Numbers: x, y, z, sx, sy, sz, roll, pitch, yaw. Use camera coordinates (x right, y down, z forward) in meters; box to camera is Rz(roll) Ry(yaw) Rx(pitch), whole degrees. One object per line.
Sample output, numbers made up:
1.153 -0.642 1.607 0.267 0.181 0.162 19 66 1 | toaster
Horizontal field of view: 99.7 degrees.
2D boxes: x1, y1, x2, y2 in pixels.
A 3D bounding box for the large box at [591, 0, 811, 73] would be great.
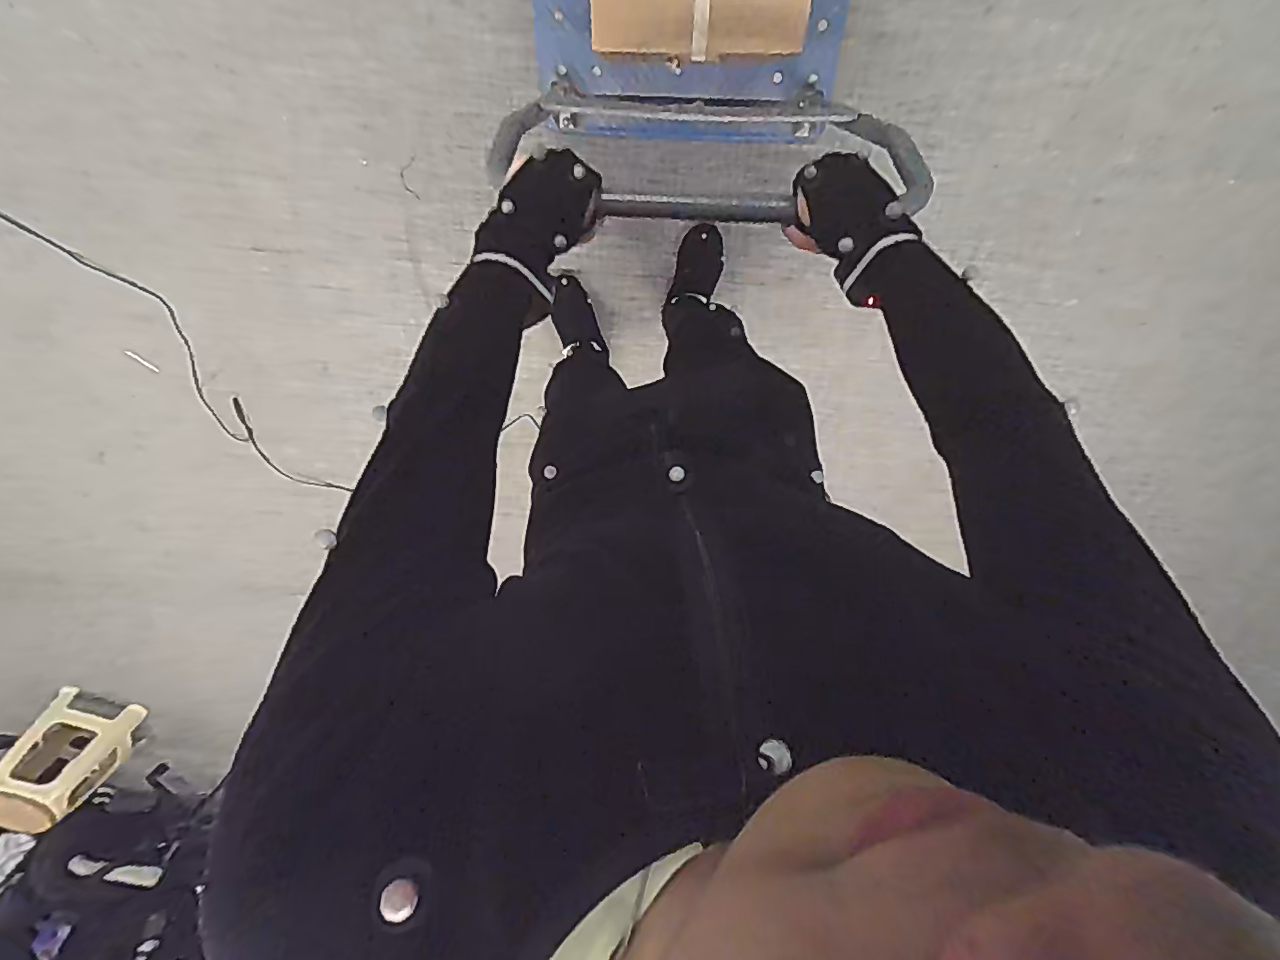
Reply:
0.091 -0.870 0.809 0.320 0.320 0.408 1 125 1 | large box
